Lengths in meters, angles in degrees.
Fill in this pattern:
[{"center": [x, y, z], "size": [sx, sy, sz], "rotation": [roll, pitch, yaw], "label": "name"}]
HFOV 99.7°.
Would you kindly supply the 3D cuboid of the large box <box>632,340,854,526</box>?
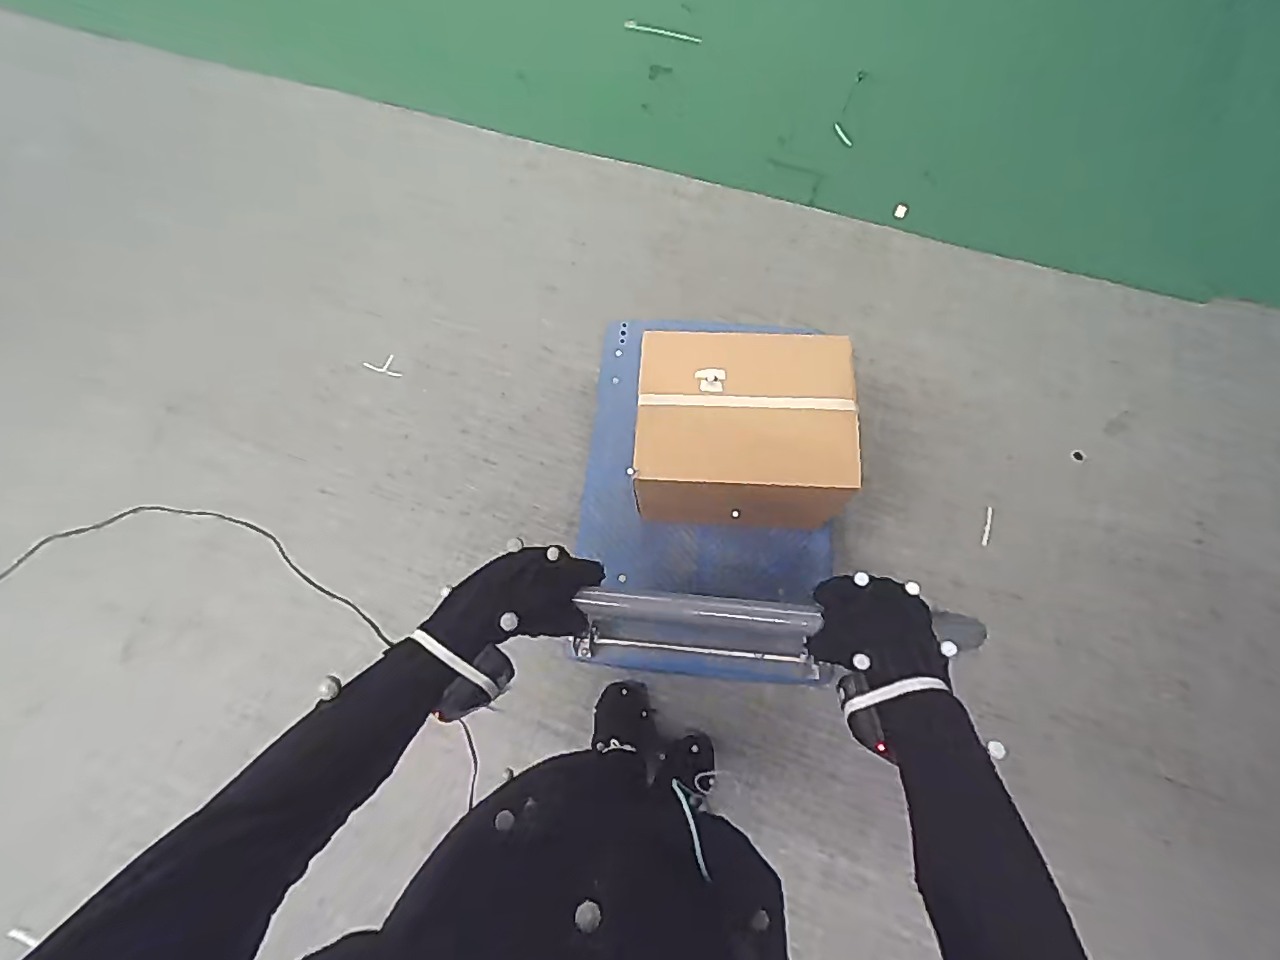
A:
[{"center": [0.203, -0.085, 1.163], "size": [0.408, 0.320, 0.320], "rotation": [2, 71, 5], "label": "large box"}]
